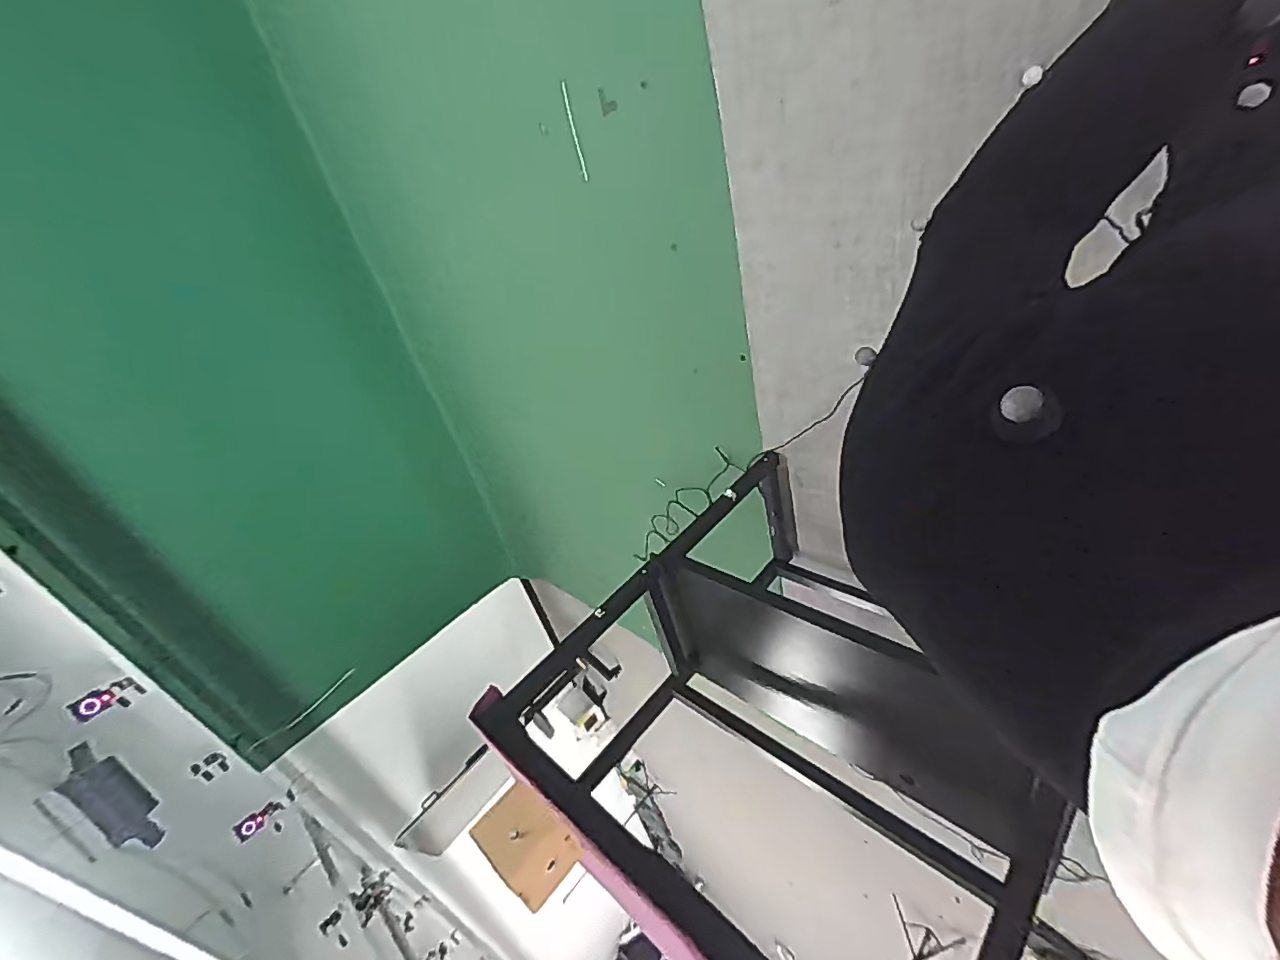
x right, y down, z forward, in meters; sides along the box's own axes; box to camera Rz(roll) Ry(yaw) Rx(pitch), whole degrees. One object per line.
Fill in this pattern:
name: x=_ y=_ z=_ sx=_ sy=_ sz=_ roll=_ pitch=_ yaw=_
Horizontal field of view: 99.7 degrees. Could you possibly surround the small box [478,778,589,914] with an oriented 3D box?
small box: x=-0.239 y=0.848 z=1.269 sx=0.179 sy=0.176 sz=0.168 roll=15 pitch=133 yaw=42
